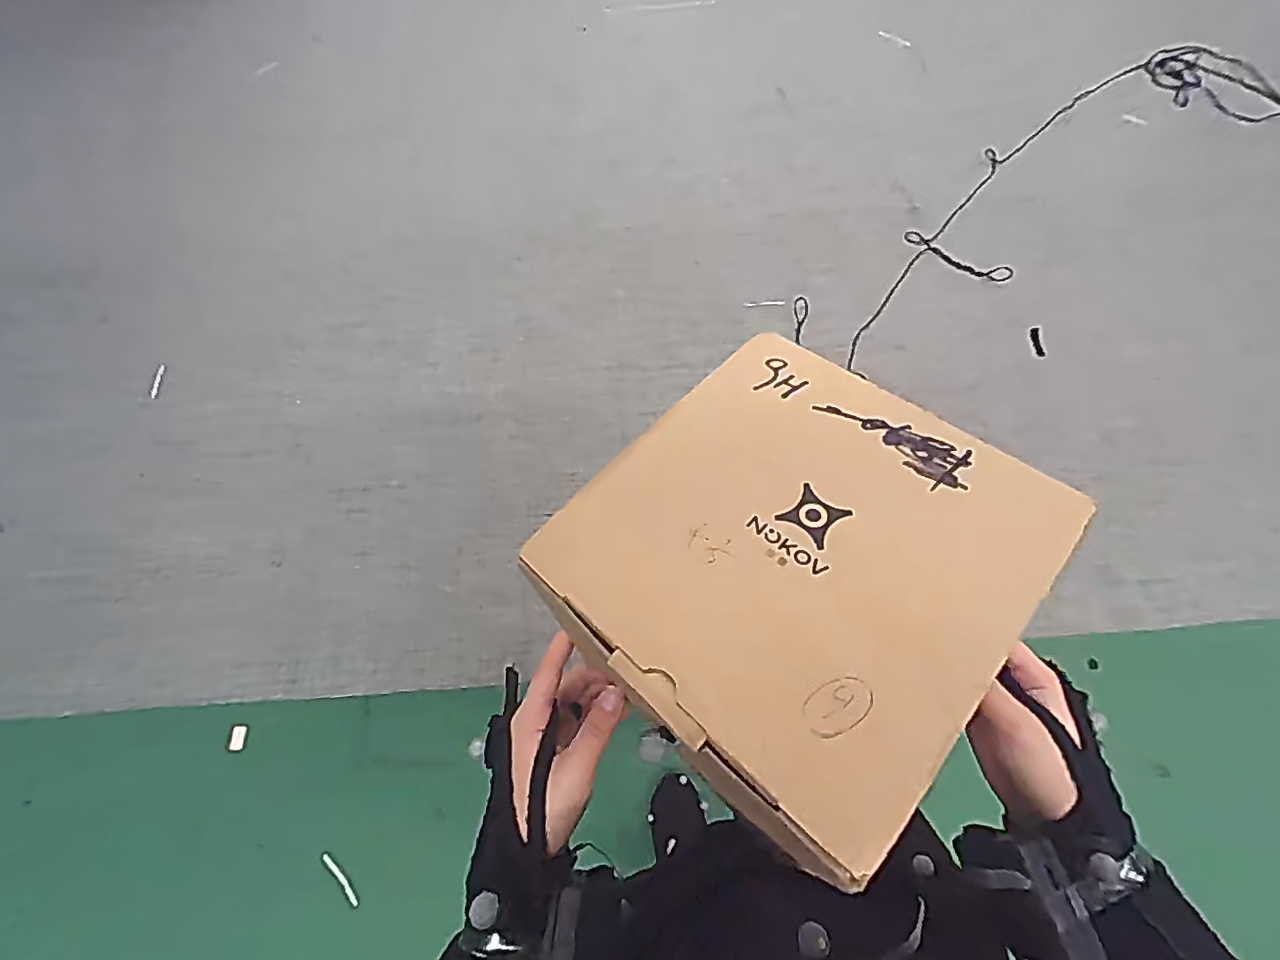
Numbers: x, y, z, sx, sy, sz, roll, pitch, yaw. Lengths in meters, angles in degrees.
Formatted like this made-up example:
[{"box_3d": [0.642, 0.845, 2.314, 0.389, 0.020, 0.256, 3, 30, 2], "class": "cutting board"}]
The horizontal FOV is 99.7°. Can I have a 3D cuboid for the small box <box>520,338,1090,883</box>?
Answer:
[{"box_3d": [0.073, 0.066, 0.289, 0.168, 0.176, 0.179, 37, 69, 27], "class": "small box"}]
